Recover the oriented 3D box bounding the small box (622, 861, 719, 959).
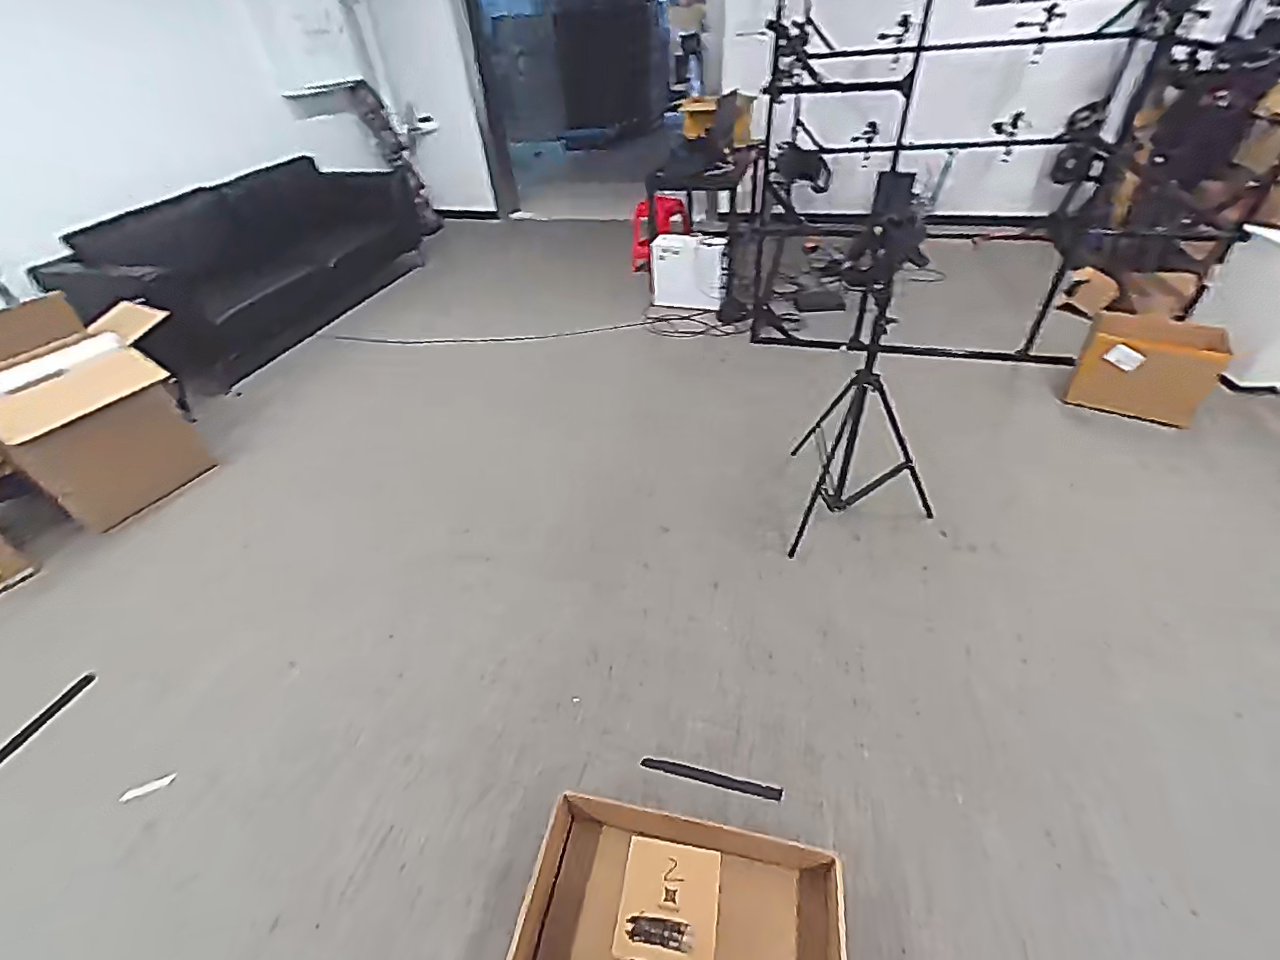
[{"bbox_3d":[0.064,0.899,1.073,0.168,0.176,0.179,4,41,11],"label":"small box"}]
